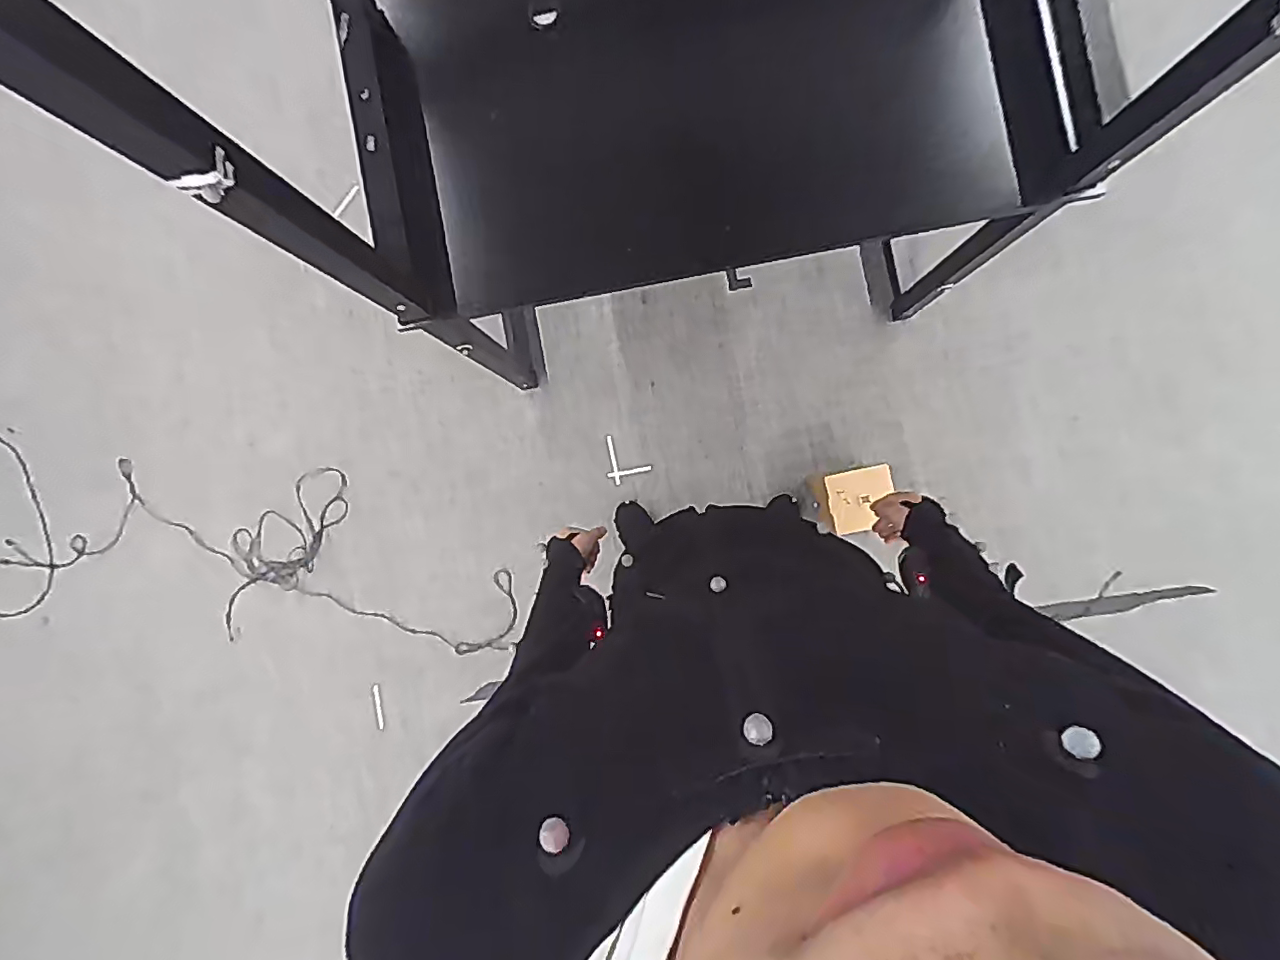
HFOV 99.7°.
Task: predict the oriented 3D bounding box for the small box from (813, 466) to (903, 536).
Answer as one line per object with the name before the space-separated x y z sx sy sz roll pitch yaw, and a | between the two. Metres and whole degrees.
small box | 0.606 0.055 1.523 0.179 0.176 0.168 -12 88 5
